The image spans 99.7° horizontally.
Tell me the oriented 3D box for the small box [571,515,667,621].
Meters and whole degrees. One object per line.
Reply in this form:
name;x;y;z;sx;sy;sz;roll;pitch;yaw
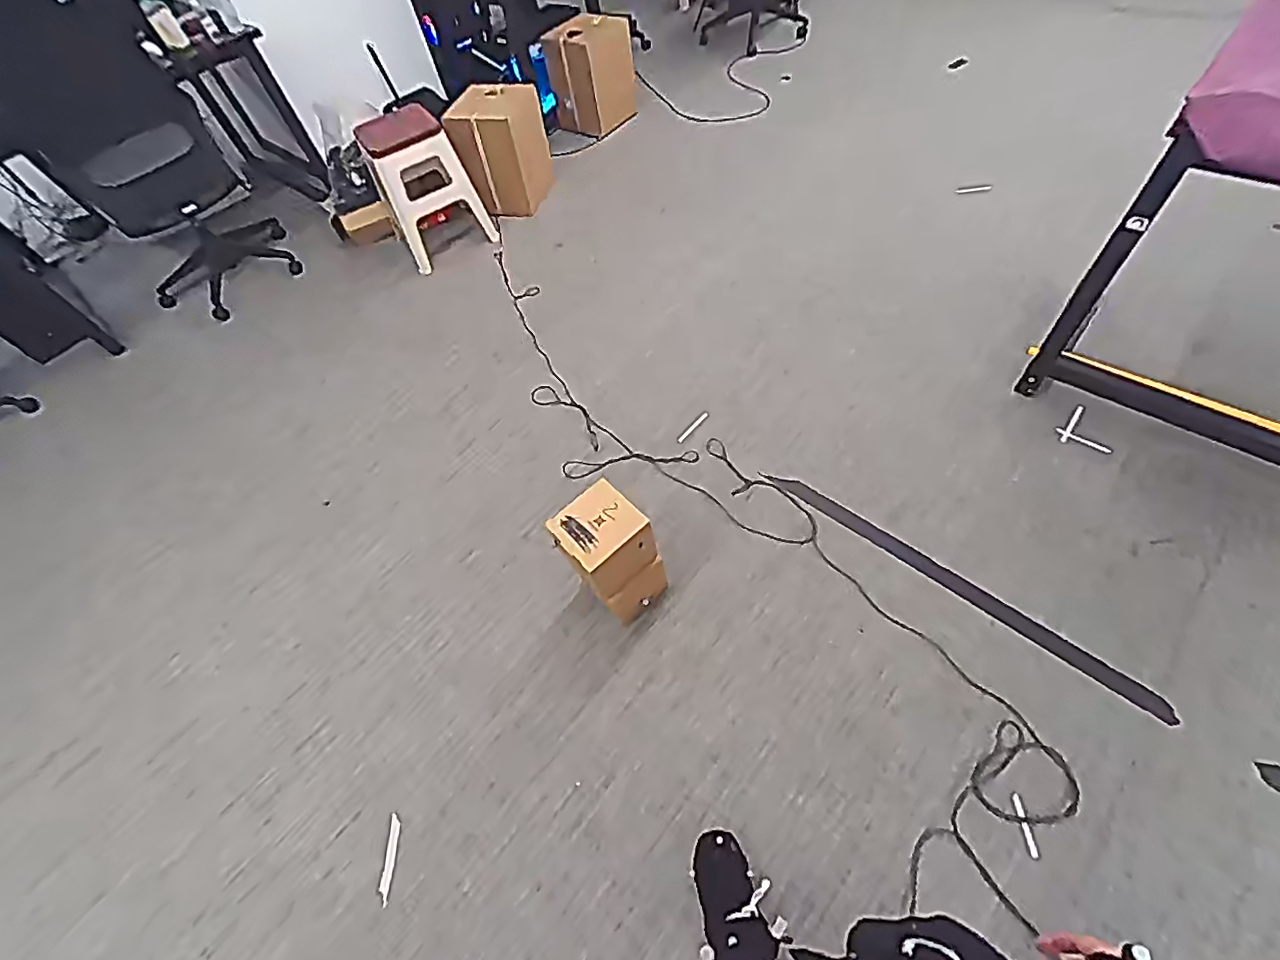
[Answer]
small box;-0.048;0.229;1.379;0.168;0.176;0.179;-39;61;-16
